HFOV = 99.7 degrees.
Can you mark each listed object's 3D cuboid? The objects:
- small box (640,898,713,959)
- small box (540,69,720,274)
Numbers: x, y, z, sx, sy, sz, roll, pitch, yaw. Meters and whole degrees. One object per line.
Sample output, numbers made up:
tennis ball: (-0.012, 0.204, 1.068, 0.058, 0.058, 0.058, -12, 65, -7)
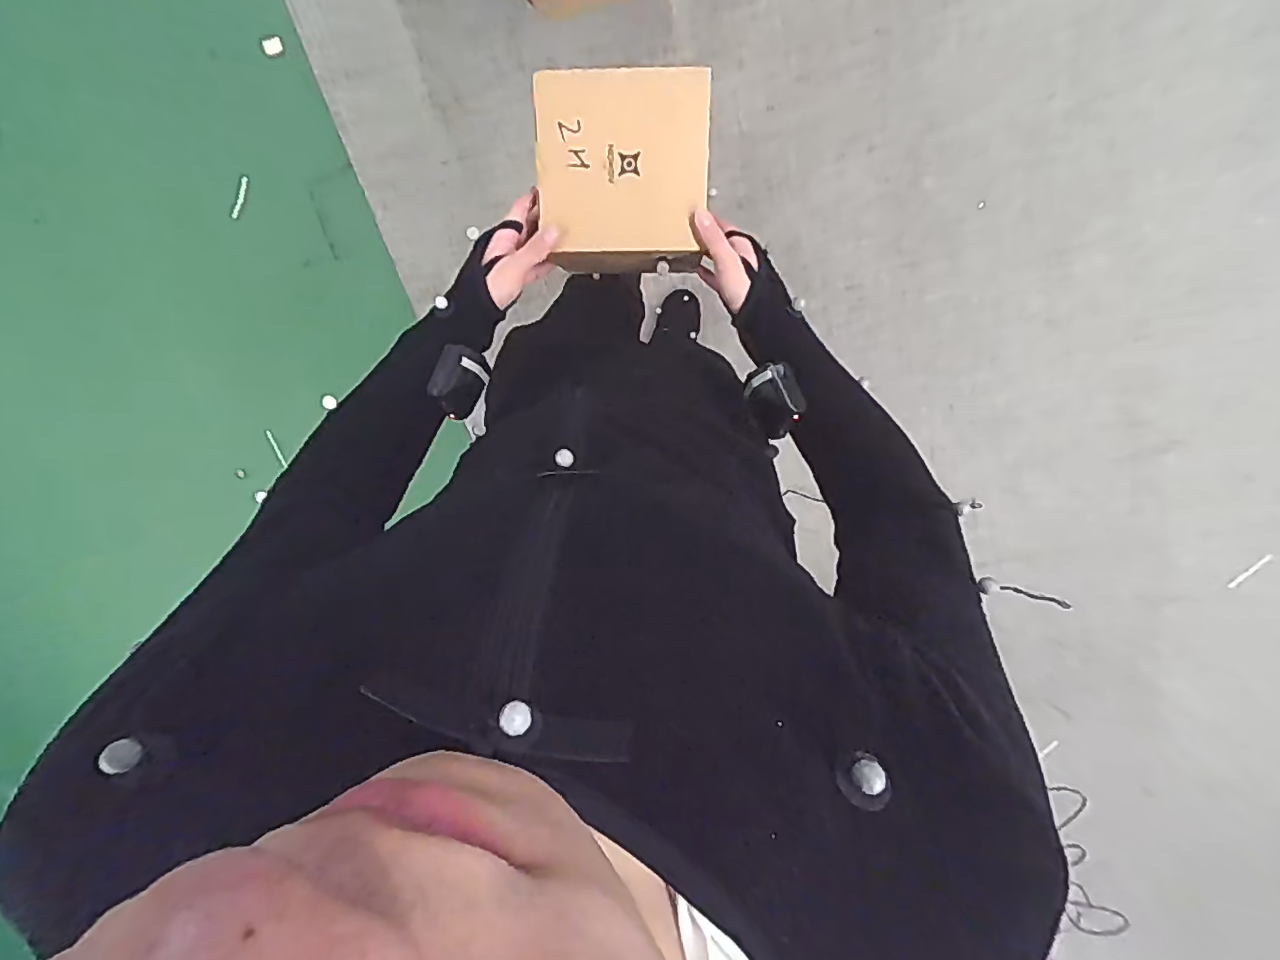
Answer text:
small box: (0.096, 1.188, 1.358, 0.179, 0.176, 0.168, -4, 116, 7)
small box: (-0.008, -0.333, 0.615, 0.179, 0.176, 0.168, 1, 104, 3)
